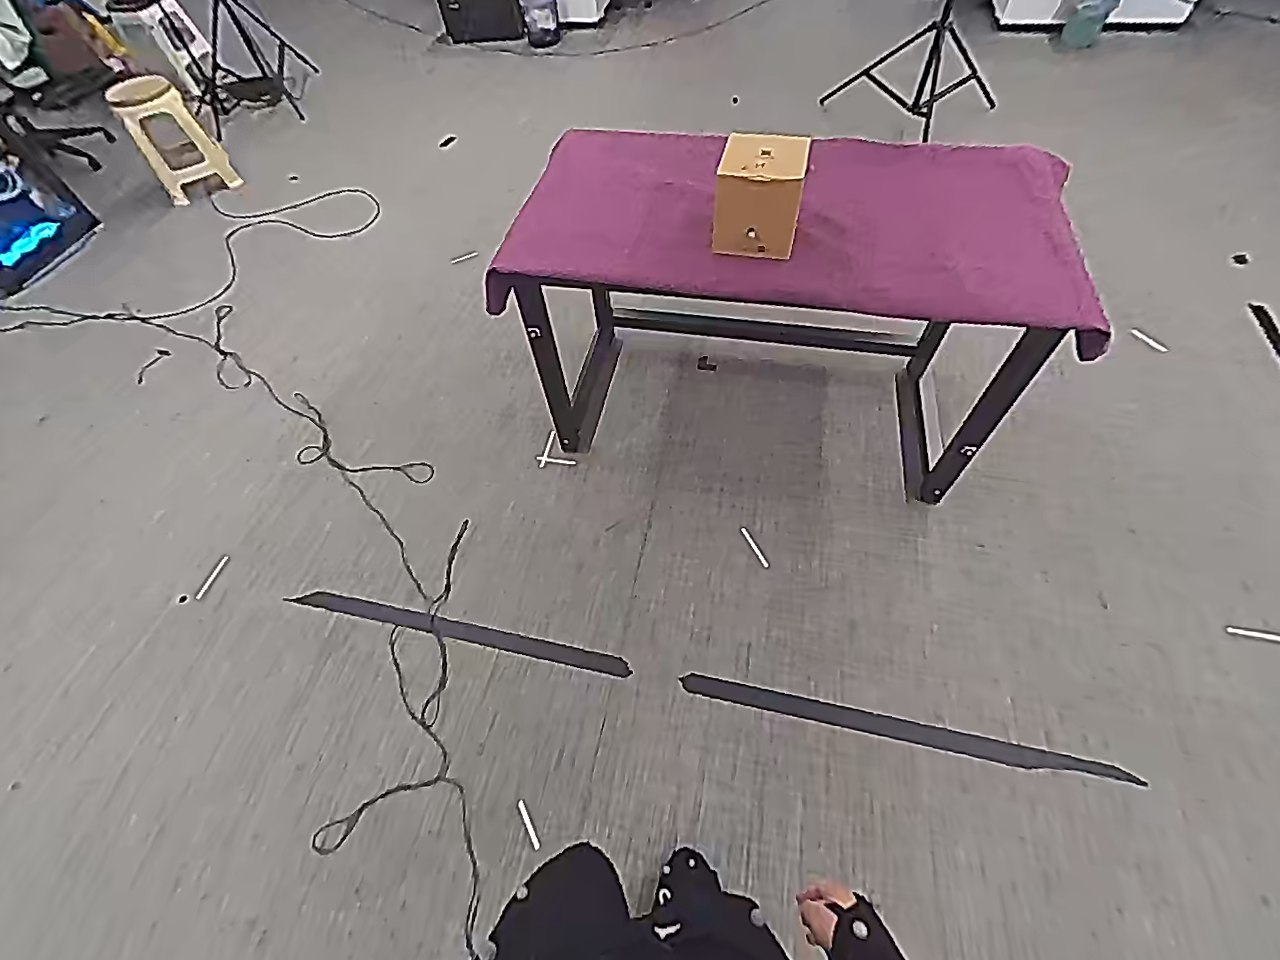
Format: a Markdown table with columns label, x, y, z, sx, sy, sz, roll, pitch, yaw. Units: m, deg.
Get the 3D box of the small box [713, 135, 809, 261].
| label | x | y | z | sx | sy | sz | roll | pitch | yaw |
| --- | --- | --- | --- | --- | --- | --- | --- | --- | --- |
| small box | 0.248 | -0.591 | 1.134 | 0.168 | 0.176 | 0.179 | 10 | 57 | 11 |
